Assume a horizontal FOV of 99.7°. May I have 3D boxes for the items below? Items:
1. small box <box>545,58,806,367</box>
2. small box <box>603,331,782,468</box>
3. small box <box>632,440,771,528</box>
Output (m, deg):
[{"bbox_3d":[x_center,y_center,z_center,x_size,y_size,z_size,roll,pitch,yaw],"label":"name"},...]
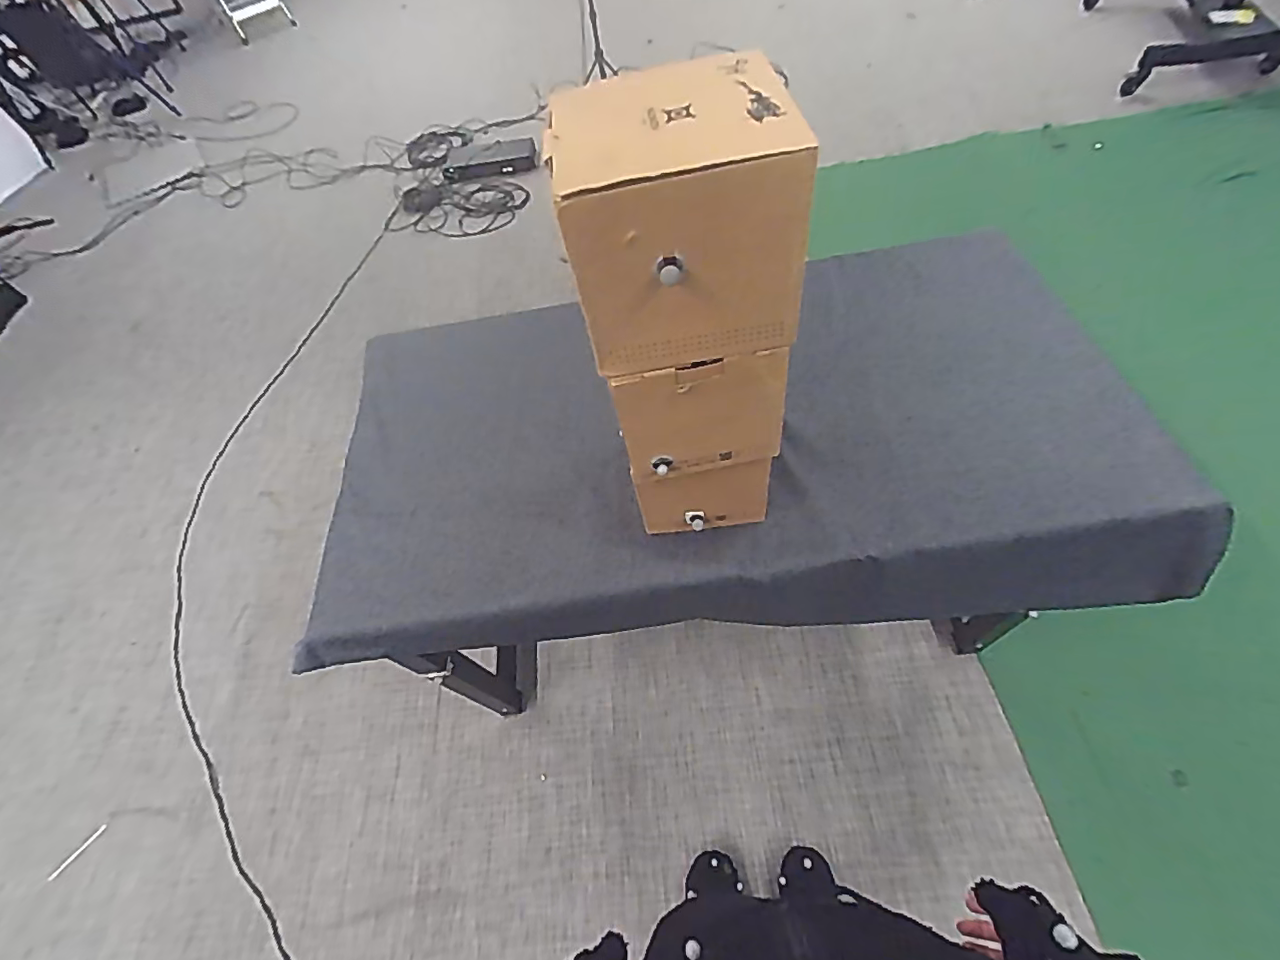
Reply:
[{"bbox_3d":[0.028,-0.221,0.468,0.179,0.176,0.168,-12,54,2],"label":"small box"},{"bbox_3d":[0.049,-0.131,0.601,0.168,0.176,0.179,-15,57,2],"label":"small box"},{"bbox_3d":[0.077,-0.056,0.744,0.168,0.176,0.179,-9,58,5],"label":"small box"}]
